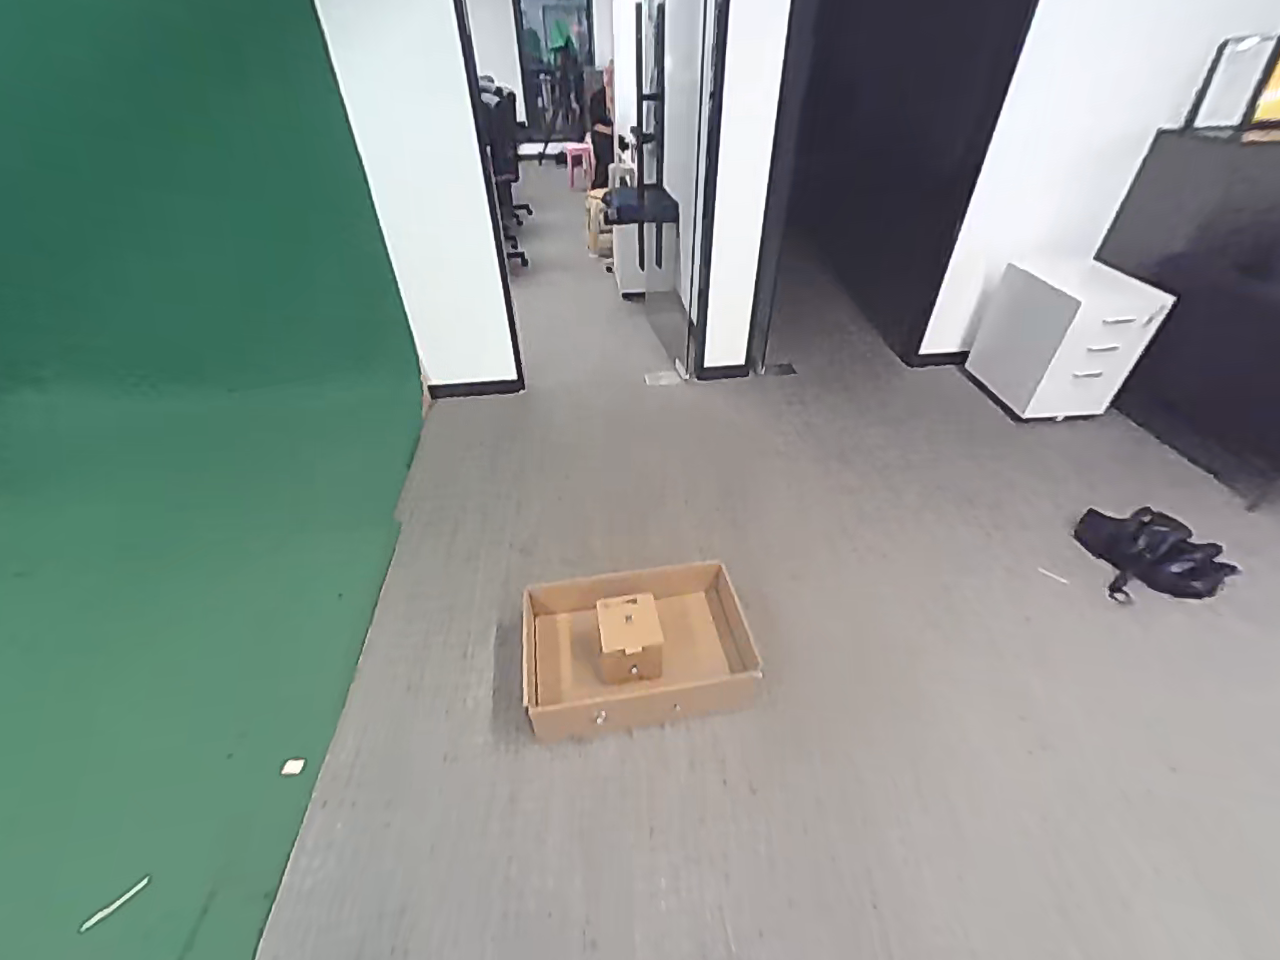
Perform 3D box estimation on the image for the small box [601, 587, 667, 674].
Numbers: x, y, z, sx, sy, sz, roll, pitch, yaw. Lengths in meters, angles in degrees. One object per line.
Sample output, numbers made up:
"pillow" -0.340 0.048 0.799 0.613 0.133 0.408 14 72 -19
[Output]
"small box" -0.016 0.435 1.544 0.168 0.176 0.179 -7 40 -6
